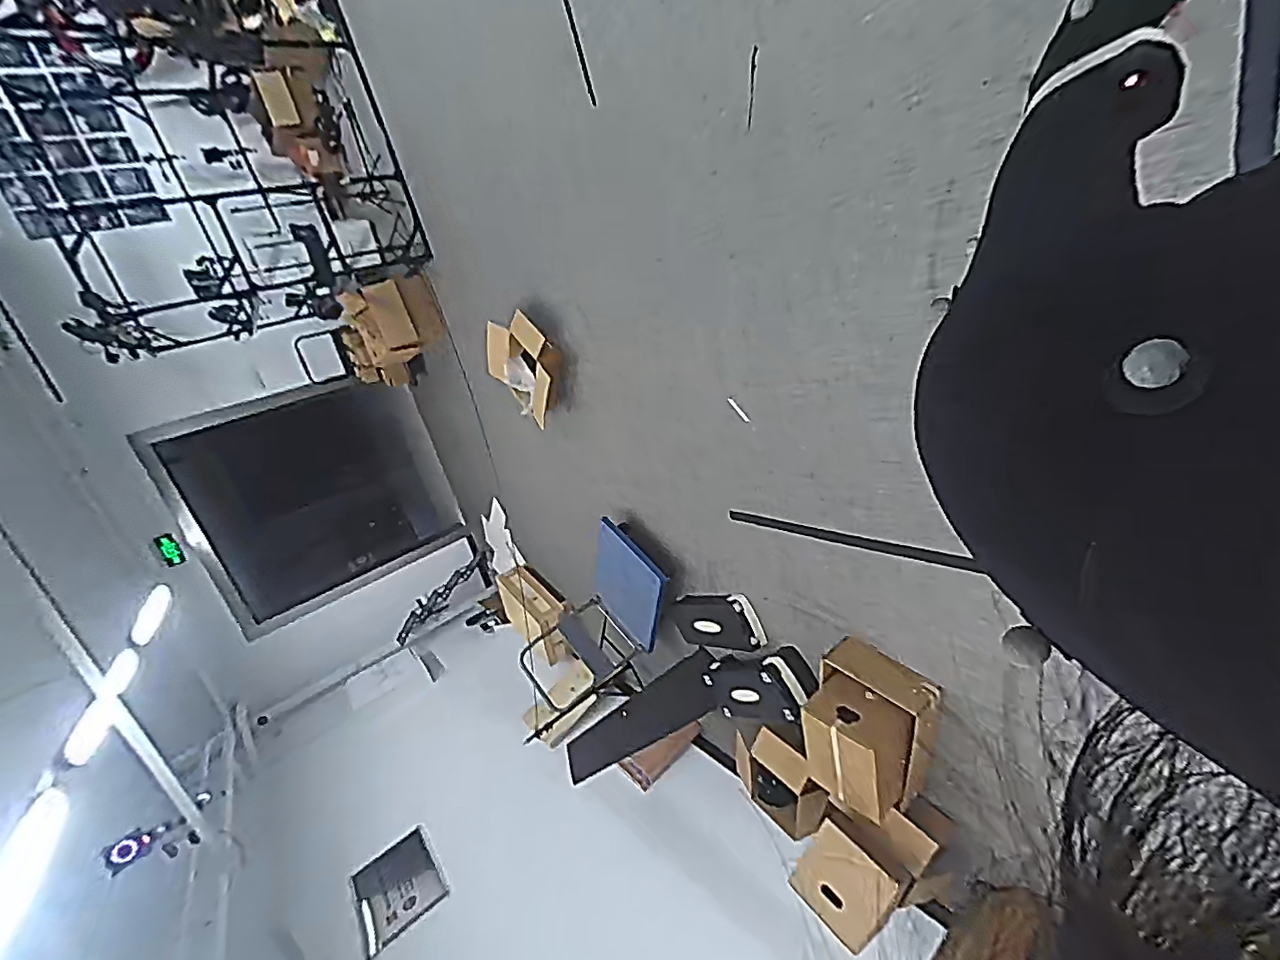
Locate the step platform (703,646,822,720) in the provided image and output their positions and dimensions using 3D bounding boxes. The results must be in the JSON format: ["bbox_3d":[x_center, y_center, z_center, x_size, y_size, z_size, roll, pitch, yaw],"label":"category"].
[{"bbox_3d":[0.601,1.056,2.784,0.286,0.204,0.684,59,148,6],"label":"step platform"}]
